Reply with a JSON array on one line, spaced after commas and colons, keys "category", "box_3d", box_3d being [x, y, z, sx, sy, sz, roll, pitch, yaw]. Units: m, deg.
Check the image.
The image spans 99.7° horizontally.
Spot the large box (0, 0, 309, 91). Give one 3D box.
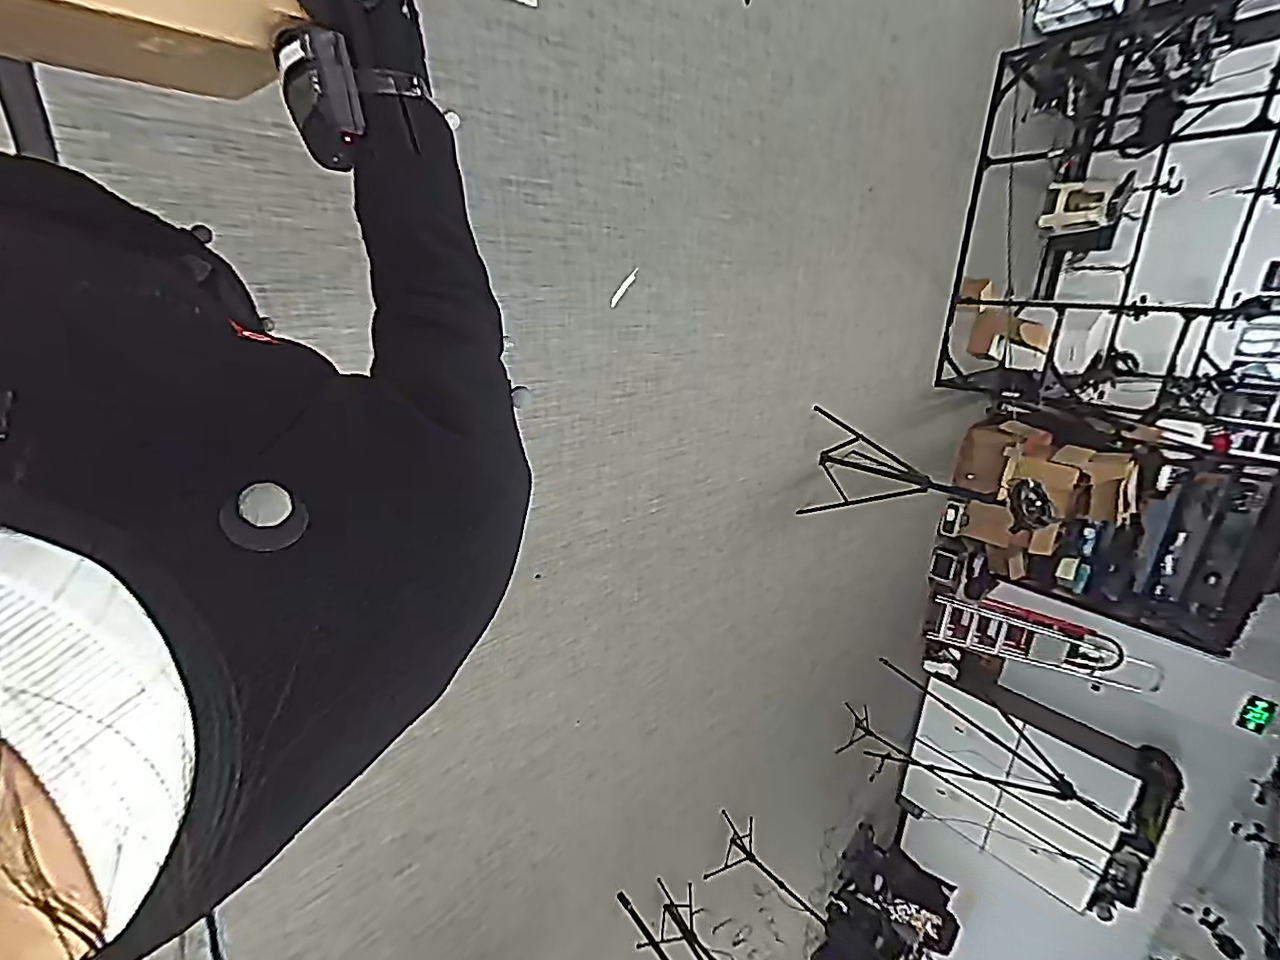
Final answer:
[{"category": "large box", "box_3d": [-0.453, -0.435, 0.272, 0.408, 0.320, 0.320, -16, 124, -39]}]
